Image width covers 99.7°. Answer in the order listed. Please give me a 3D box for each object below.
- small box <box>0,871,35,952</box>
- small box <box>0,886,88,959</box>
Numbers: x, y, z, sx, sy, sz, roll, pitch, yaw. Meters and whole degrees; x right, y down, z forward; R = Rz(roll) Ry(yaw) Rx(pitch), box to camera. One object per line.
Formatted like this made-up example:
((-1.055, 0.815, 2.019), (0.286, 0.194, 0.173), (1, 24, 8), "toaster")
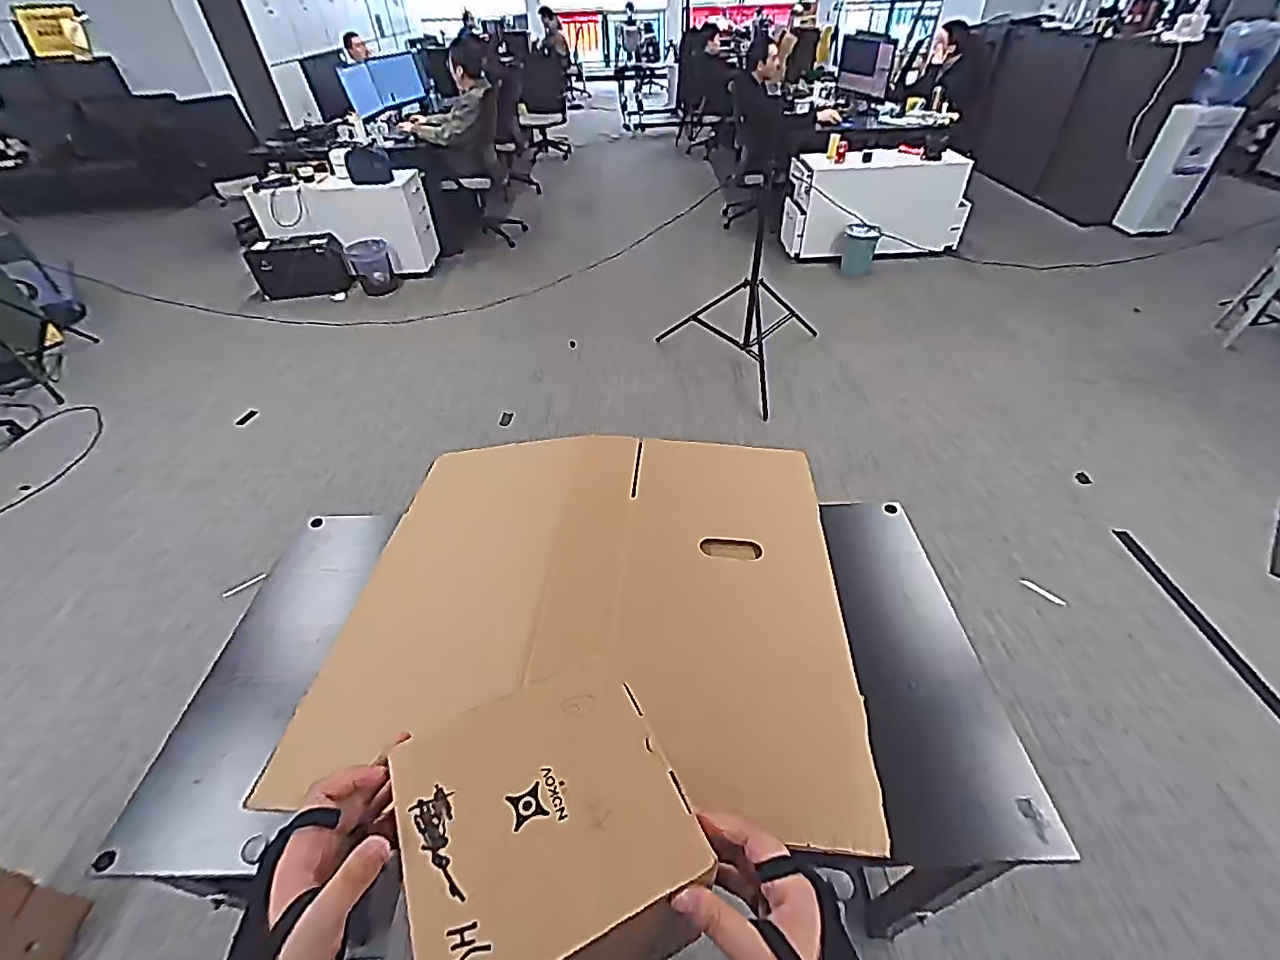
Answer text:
((-1.331, 0.851, 1.017), (0.168, 0.176, 0.179), (-6, 42, -5), "small box")
((-1.325, 0.976, 1.122), (0.168, 0.176, 0.179), (-5, 43, -2), "small box")
